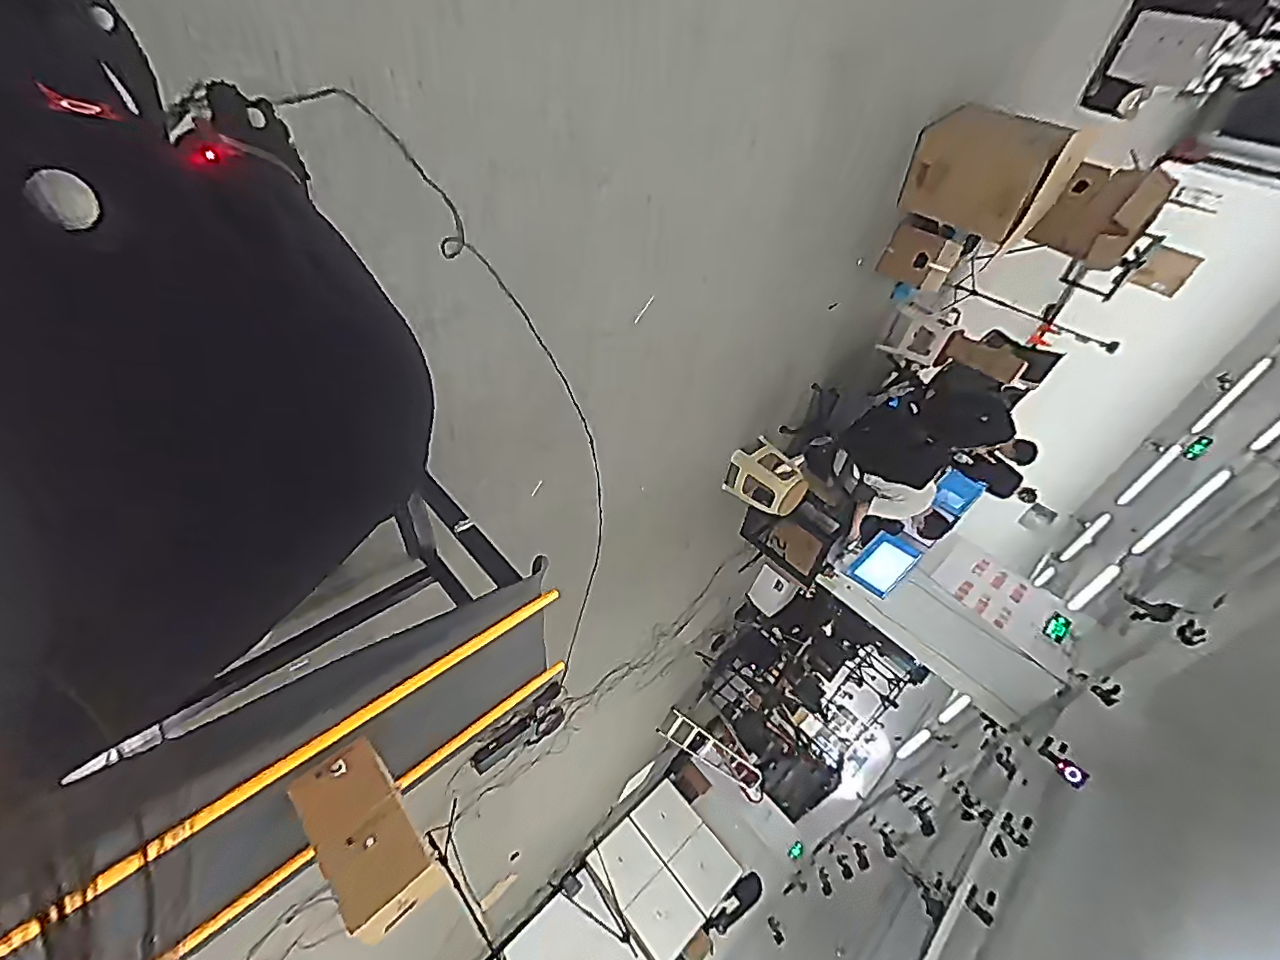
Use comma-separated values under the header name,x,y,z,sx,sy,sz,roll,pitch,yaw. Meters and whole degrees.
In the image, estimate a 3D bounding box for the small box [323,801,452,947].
name,x,y,z,sx,sy,sz,roll,pitch,yaw
small box,-0.517,0.807,1.117,0.168,0.176,0.179,-32,146,-33

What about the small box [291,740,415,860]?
name,x,y,z,sx,sy,sz,roll,pitch,yaw
small box,-0.629,0.715,1.194,0.168,0.176,0.179,-33,145,-32
